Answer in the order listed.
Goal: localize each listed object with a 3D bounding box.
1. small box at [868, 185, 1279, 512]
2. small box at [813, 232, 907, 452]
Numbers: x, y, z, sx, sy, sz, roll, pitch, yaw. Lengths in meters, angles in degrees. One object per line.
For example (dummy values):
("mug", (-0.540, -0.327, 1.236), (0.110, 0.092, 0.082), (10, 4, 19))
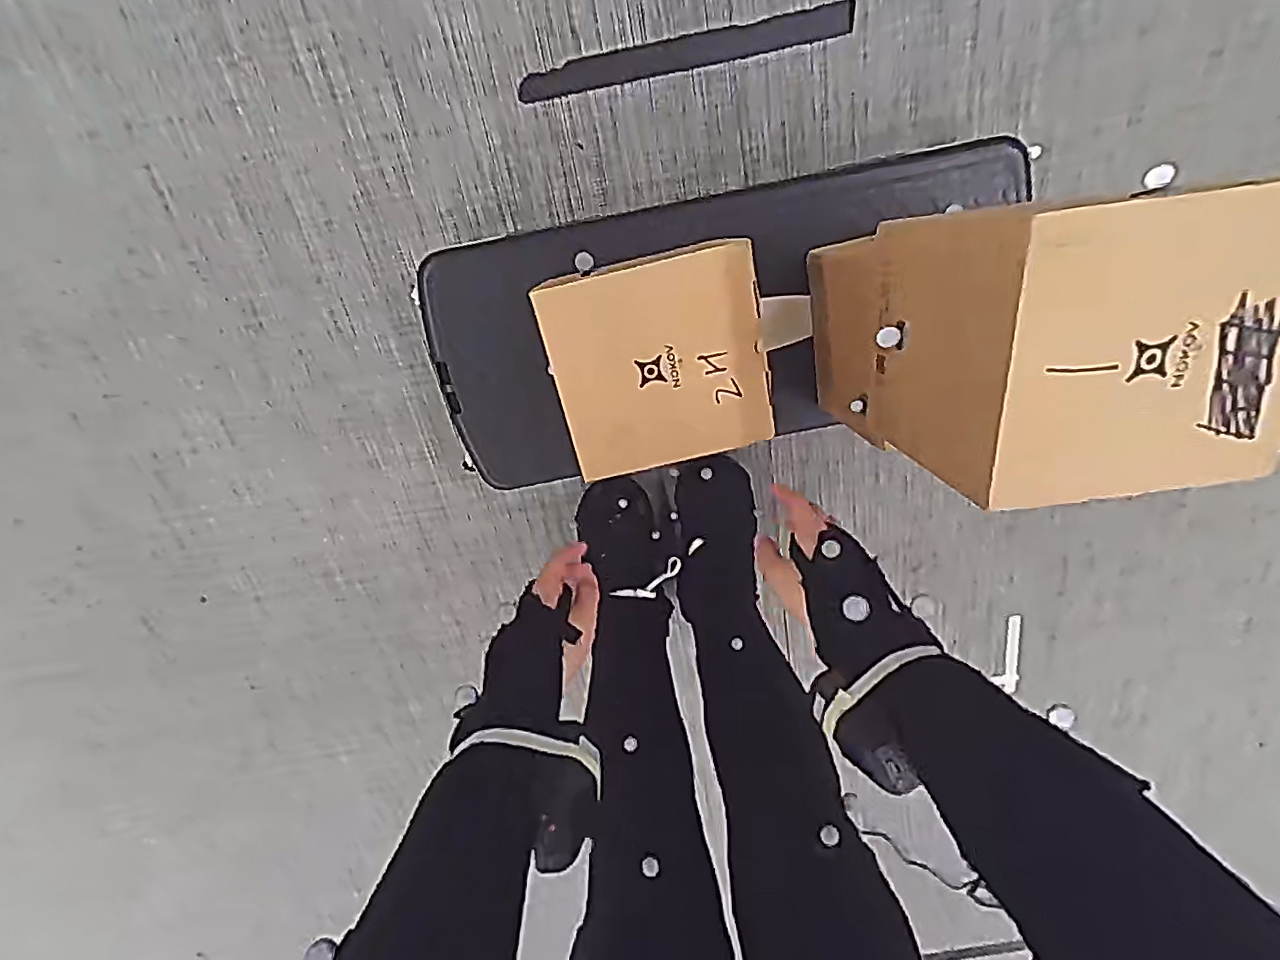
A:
("small box", (0.281, -0.097, 0.365), (0.179, 0.176, 0.168), (-7, 113, 0))
("small box", (0.278, -0.149, 0.522), (0.168, 0.176, 0.179), (-12, 114, 1))
